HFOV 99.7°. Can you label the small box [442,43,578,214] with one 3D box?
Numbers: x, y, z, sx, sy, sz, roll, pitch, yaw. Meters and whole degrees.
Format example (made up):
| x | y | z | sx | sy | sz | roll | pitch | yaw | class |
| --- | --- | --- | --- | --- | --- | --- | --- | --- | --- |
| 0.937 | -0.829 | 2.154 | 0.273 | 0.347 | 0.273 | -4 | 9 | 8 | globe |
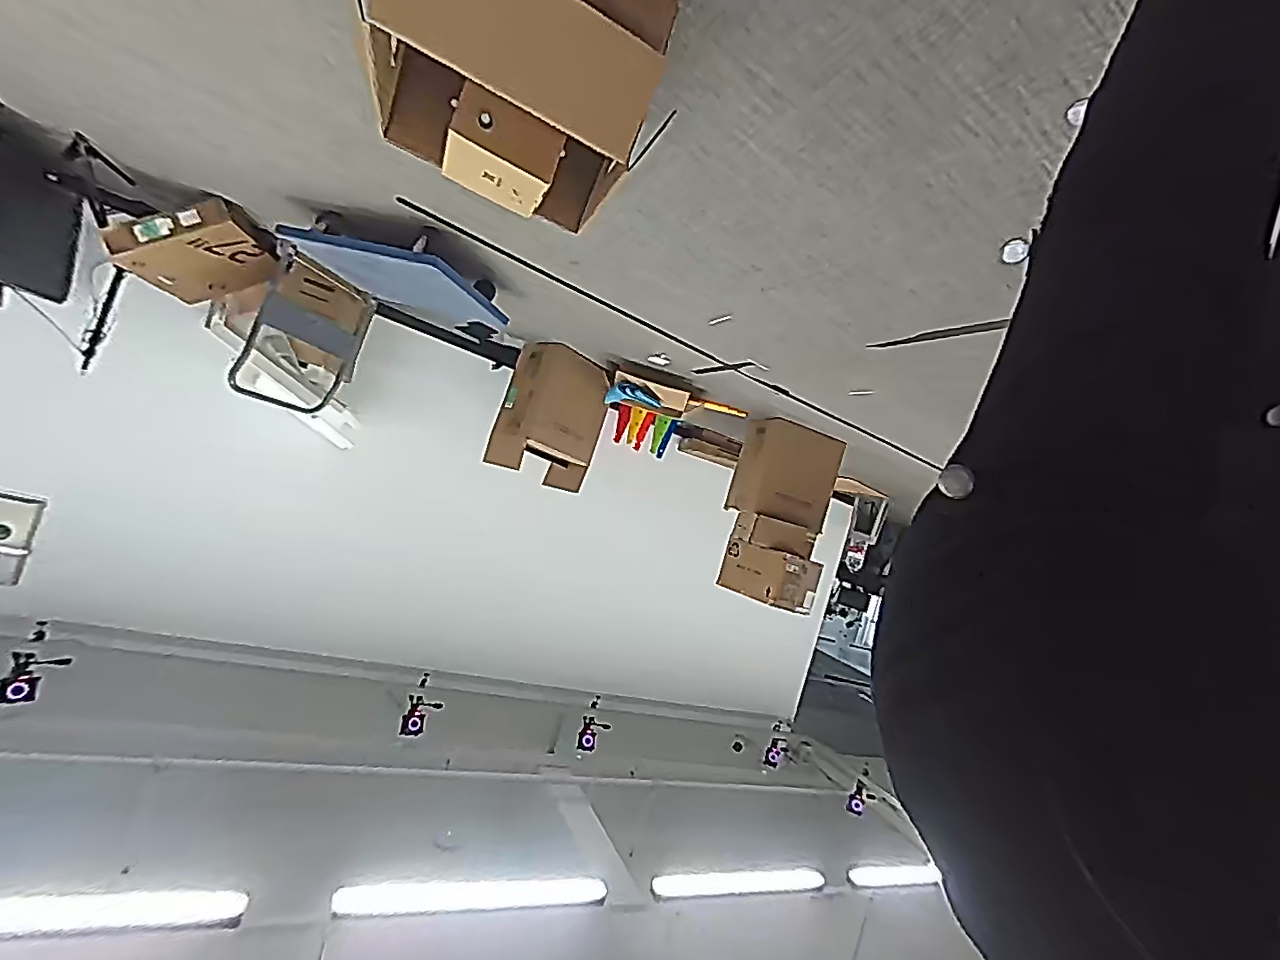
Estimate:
| x | y | z | sx | sy | sz | roll | pitch | yaw | class |
| --- | --- | --- | --- | --- | --- | --- | --- | --- | --- |
| -0.234 | -0.620 | 0.963 | 0.179 | 0.176 | 0.168 | 19 | 178 | -25 | small box |
